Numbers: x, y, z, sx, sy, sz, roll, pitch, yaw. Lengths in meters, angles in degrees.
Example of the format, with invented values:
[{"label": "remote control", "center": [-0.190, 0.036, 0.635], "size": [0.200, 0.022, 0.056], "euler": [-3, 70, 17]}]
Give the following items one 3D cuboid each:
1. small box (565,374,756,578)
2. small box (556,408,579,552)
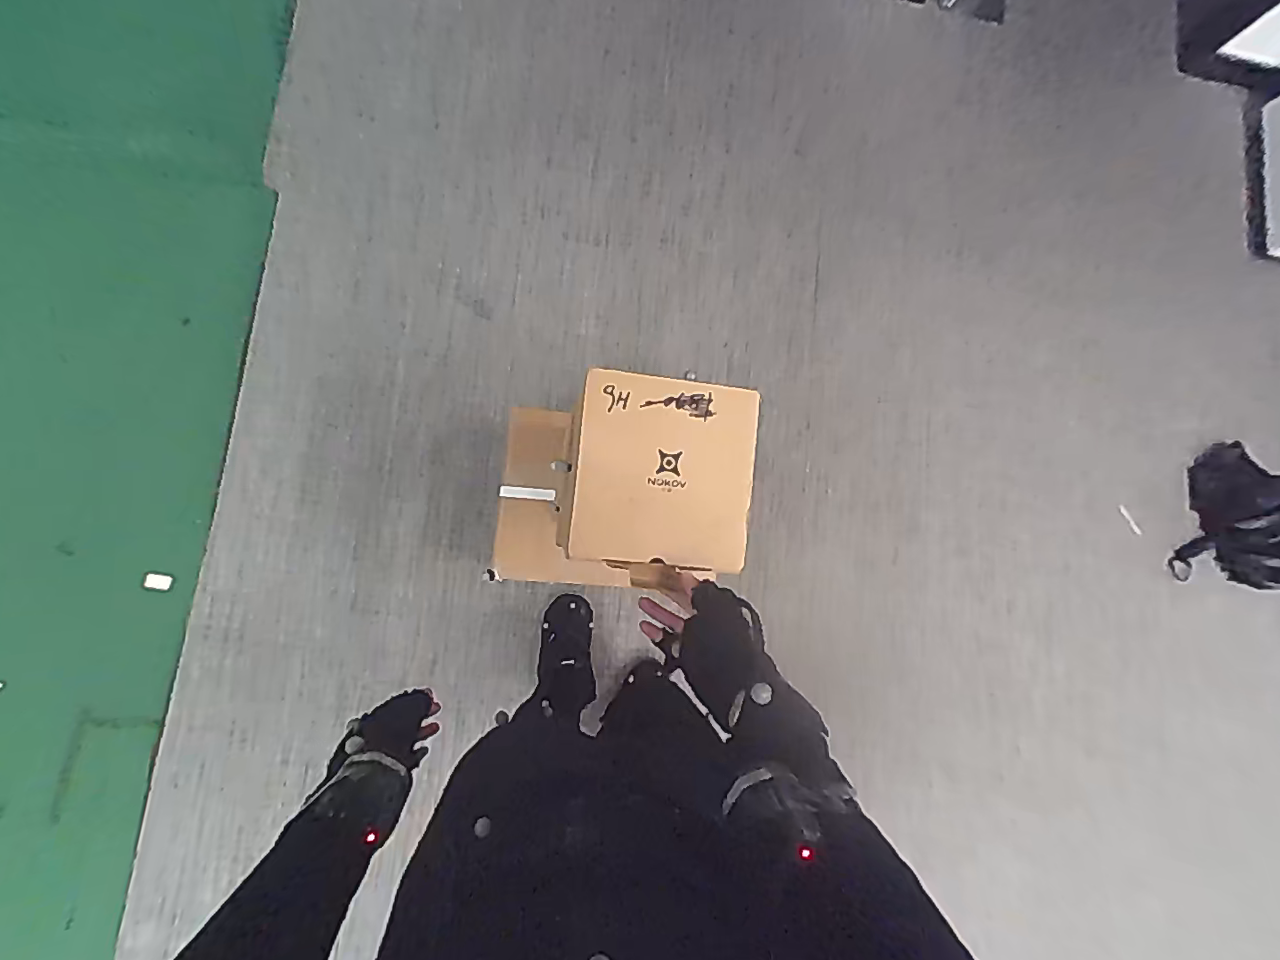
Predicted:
[{"label": "small box", "center": [0.010, -0.001, 0.582], "size": [0.168, 0.176, 0.179], "euler": [6, 88, -9]}, {"label": "small box", "center": [-0.024, 0.010, 0.742], "size": [0.168, 0.176, 0.179], "euler": [6, 86, -10]}]
